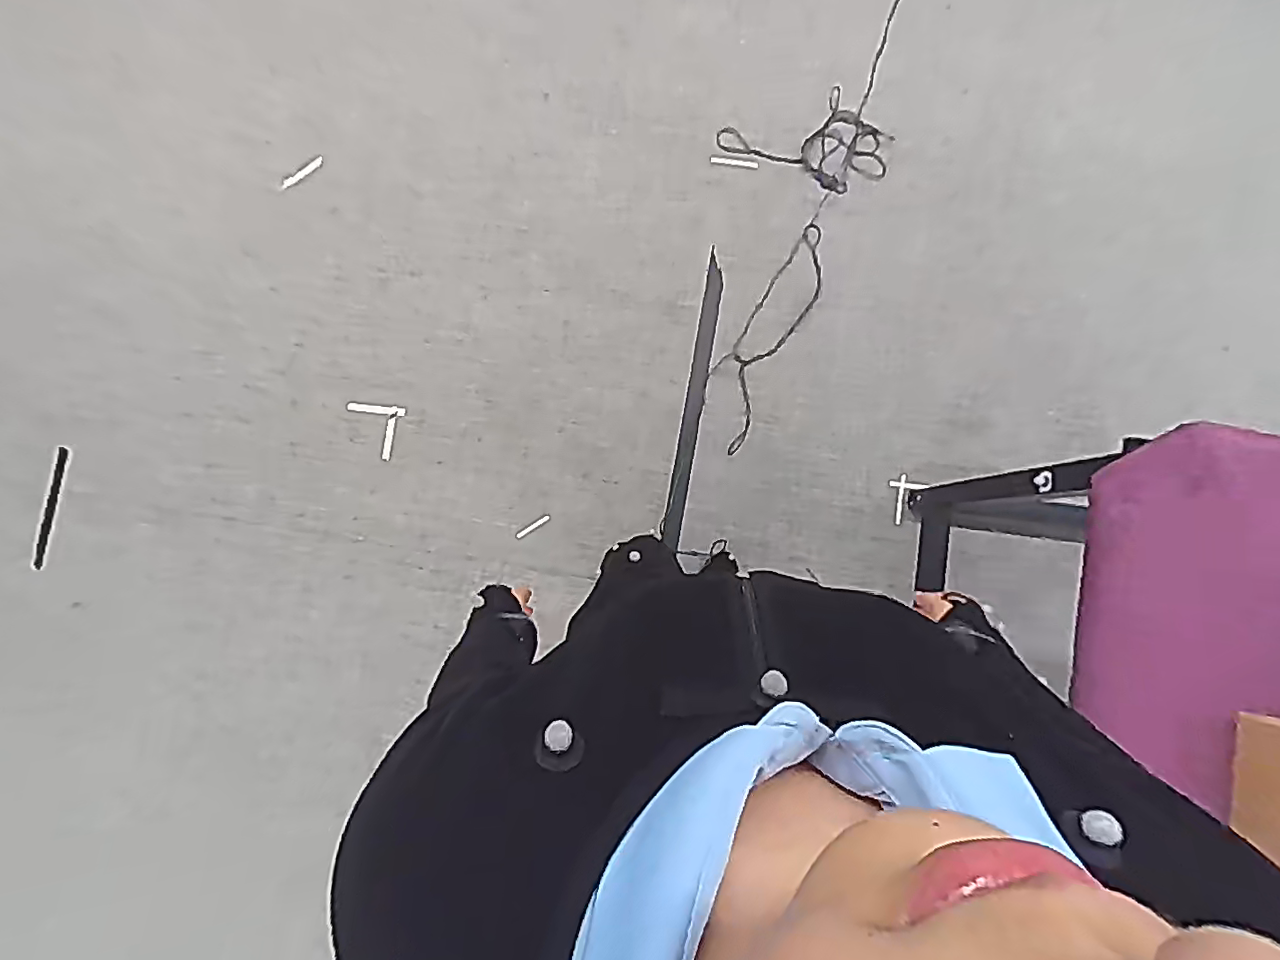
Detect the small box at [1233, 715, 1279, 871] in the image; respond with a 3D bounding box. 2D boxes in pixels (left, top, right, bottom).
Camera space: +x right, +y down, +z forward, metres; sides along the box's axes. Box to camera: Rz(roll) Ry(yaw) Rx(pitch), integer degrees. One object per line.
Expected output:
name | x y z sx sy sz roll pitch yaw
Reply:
small box | 0.854 0.400 0.622 0.168 0.176 0.179 10 85 4
